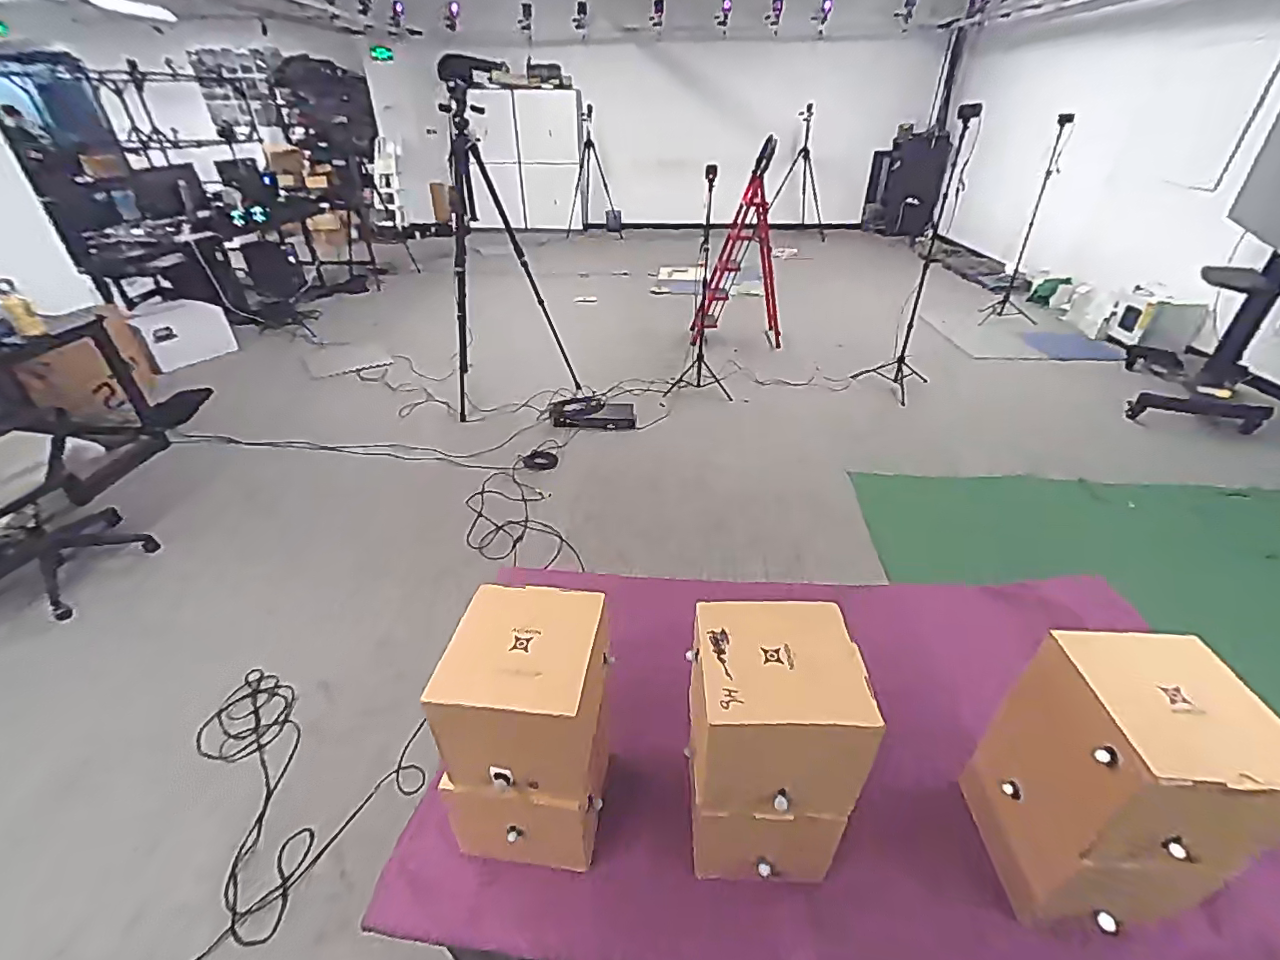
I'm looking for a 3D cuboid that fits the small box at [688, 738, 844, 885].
[{"bbox_3d":[0.152,0.403,0.725,0.168,0.176,0.179,1,33,2],"label":"small box"}]

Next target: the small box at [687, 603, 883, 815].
[{"bbox_3d":[0.151,0.266,0.635,0.179,0.176,0.168,1,32,1],"label":"small box"}]

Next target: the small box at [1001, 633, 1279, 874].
[{"bbox_3d":[0.546,0.295,0.599,0.168,0.176,0.179,2,34,2],"label":"small box"}]

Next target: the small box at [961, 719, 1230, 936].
[{"bbox_3d":[0.544,0.434,0.684,0.168,0.176,0.179,2,34,3],"label":"small box"}]

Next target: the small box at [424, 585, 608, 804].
[{"bbox_3d":[-0.132,0.253,0.654,0.168,0.176,0.179,2,33,5],"label":"small box"}]
